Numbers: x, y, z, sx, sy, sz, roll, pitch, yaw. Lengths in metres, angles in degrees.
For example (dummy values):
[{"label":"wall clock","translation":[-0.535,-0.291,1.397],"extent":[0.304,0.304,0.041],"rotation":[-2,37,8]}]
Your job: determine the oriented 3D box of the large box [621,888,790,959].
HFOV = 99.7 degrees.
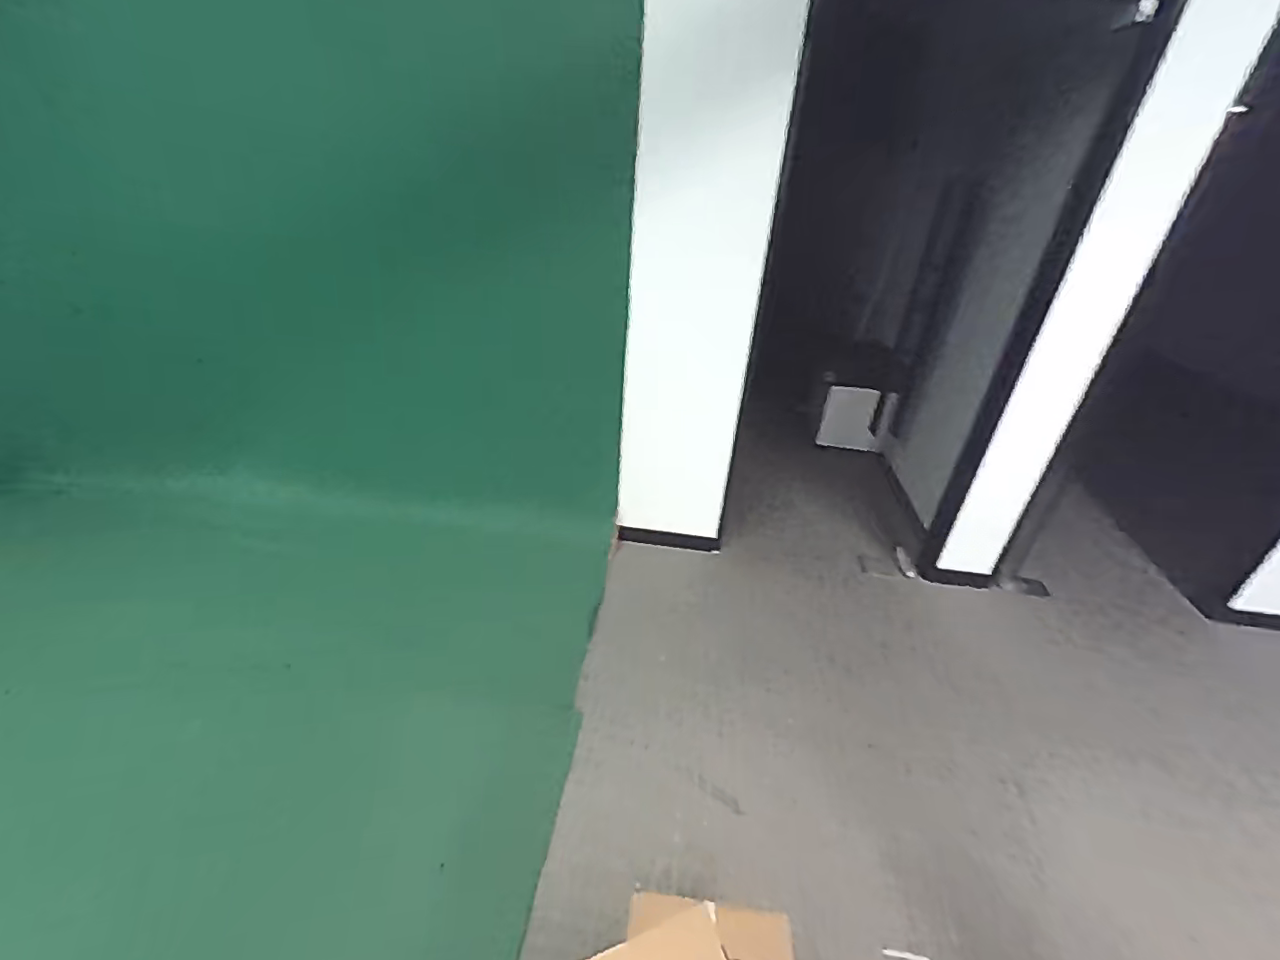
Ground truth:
[{"label":"large box","translation":[0.103,1.053,0.970],"extent":[0.320,0.320,0.408],"rotation":[7,30,4]}]
